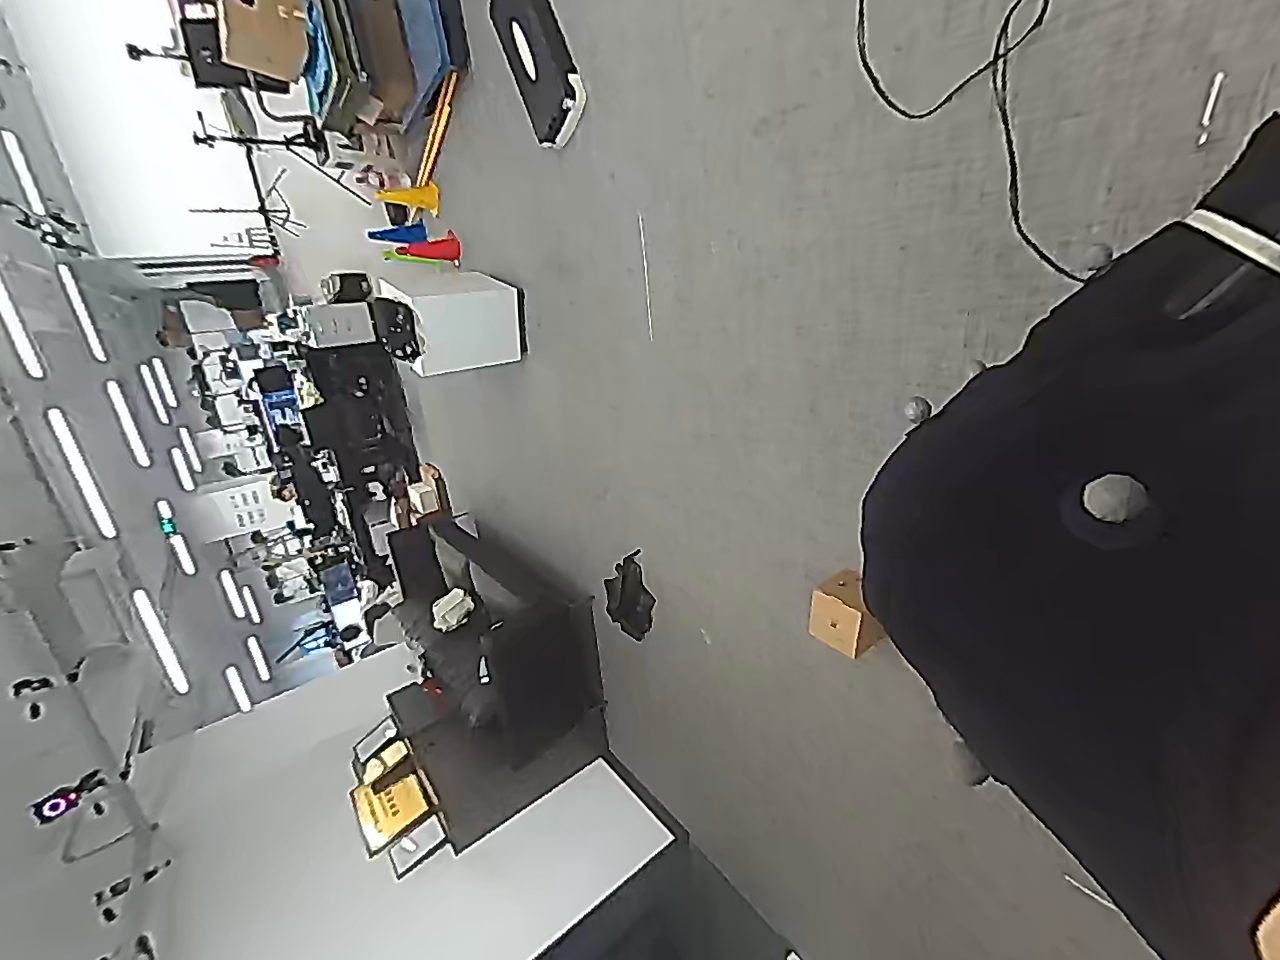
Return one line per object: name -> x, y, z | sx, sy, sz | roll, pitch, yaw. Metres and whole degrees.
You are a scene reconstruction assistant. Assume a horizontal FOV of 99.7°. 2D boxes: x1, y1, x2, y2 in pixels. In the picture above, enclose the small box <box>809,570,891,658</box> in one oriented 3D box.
small box -> 0.643, 0.401, 1.654 | 0.168, 0.176, 0.179 | 26, 127, 48
